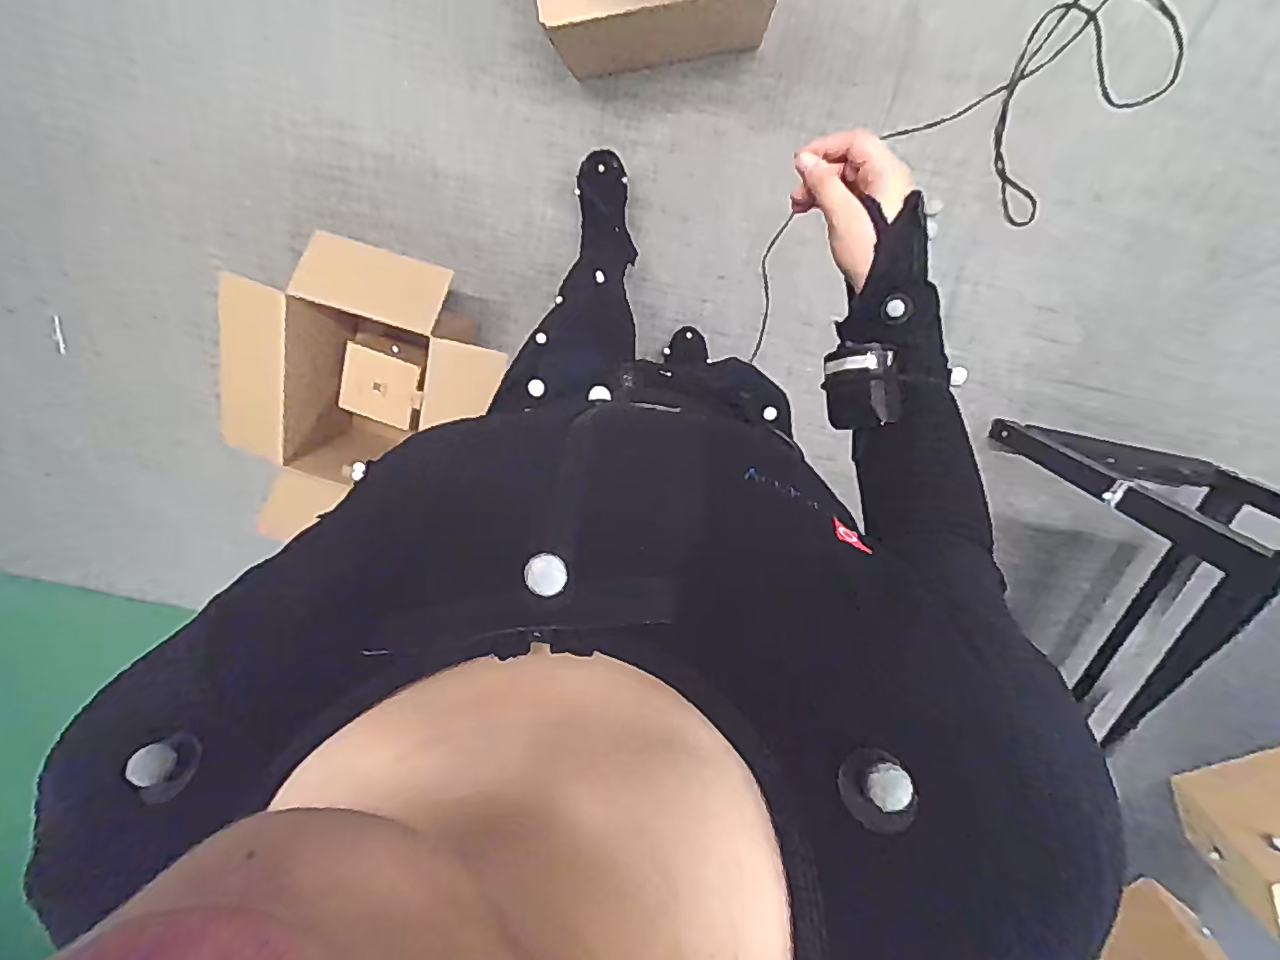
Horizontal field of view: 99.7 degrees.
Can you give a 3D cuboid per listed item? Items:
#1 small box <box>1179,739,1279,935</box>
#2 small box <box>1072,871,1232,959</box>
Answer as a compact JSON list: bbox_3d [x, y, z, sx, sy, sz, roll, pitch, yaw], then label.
[{"bbox_3d":[0.969,0.529,0.811,0.179,0.176,0.168,-27,110,13],"label":"small box"},{"bbox_3d":[0.915,0.841,0.948,0.168,0.176,0.179,39,109,-13],"label":"small box"}]
